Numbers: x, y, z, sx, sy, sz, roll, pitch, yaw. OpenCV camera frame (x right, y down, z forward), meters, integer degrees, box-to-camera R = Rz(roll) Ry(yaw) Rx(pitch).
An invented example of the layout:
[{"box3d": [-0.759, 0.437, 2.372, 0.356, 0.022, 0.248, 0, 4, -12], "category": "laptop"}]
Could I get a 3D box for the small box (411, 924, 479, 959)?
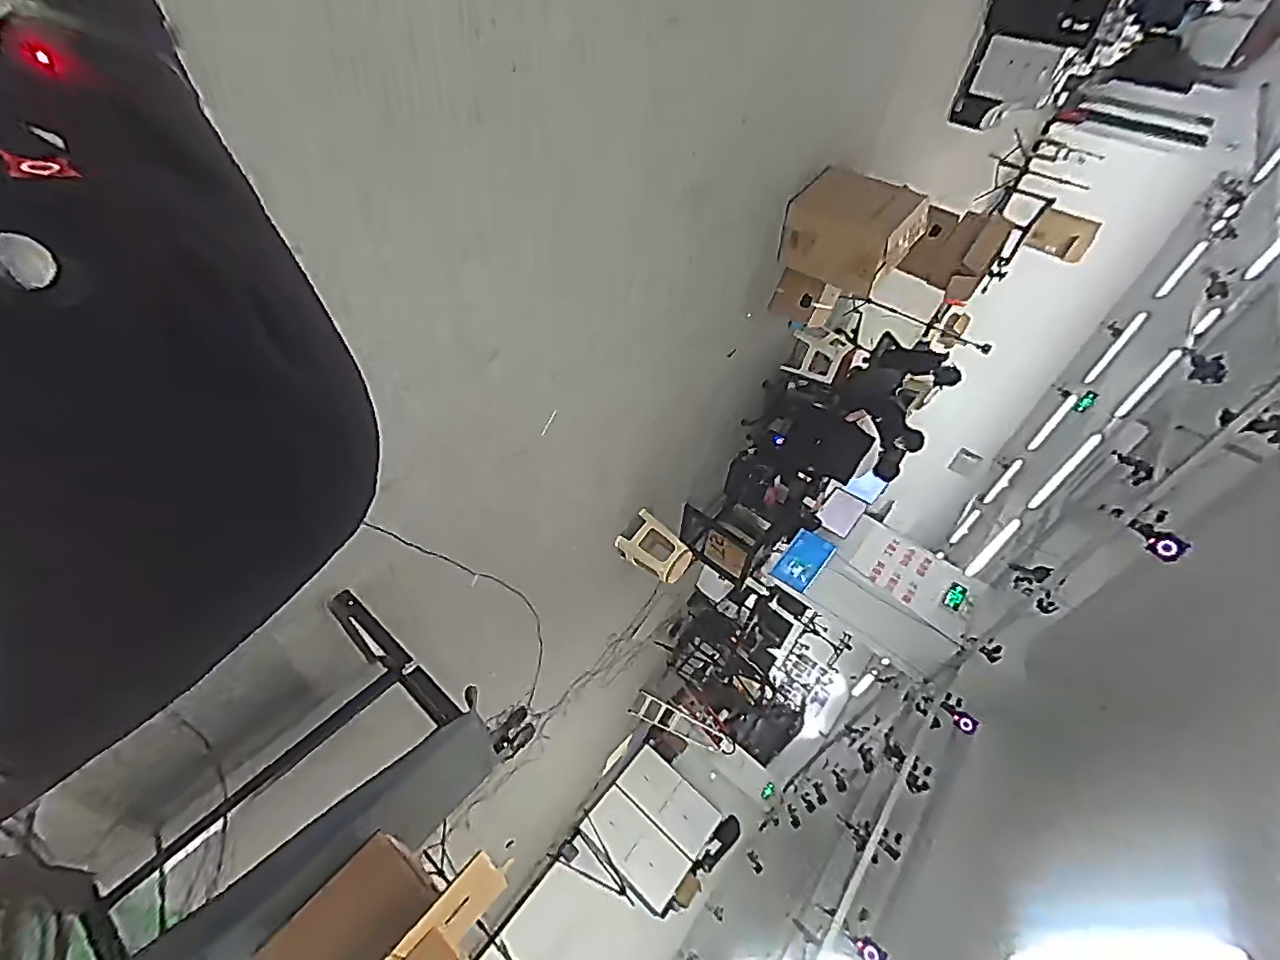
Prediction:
[{"box3d": [-0.547, 1.381, 1.500, 0.168, 0.176, 0.179, -41, 152, -34], "category": "small box"}]
